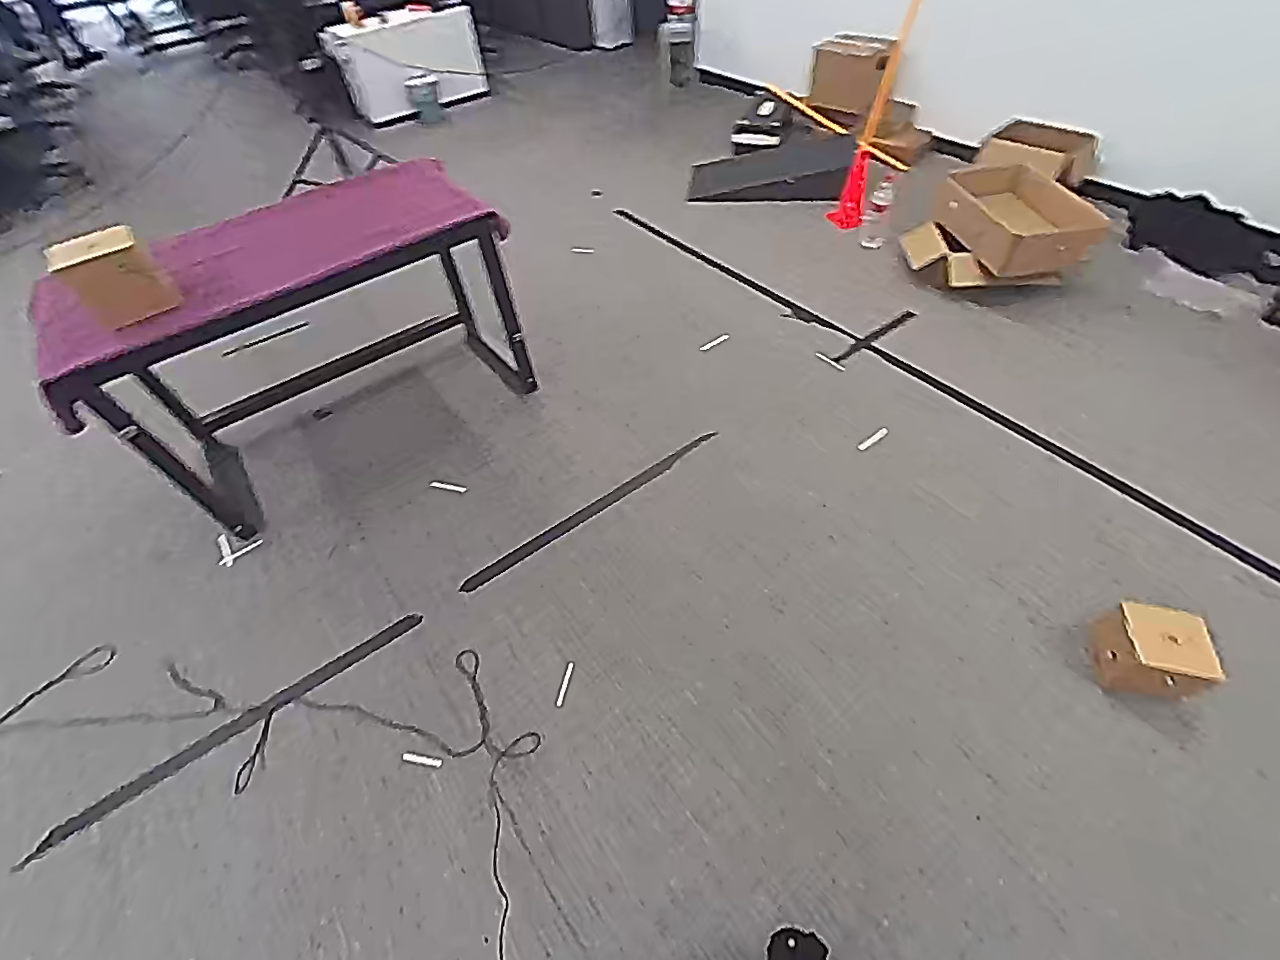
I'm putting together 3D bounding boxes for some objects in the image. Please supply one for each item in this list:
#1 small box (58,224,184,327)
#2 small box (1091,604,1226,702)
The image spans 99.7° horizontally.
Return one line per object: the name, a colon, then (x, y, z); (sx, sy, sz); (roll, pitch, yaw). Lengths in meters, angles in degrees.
small box: (-1.332, -0.528, 1.401); (0.179, 0.176, 0.168); (-34, 54, -21)
small box: (1.277, 0.437, 1.354); (0.179, 0.176, 0.168); (11, 54, 12)
